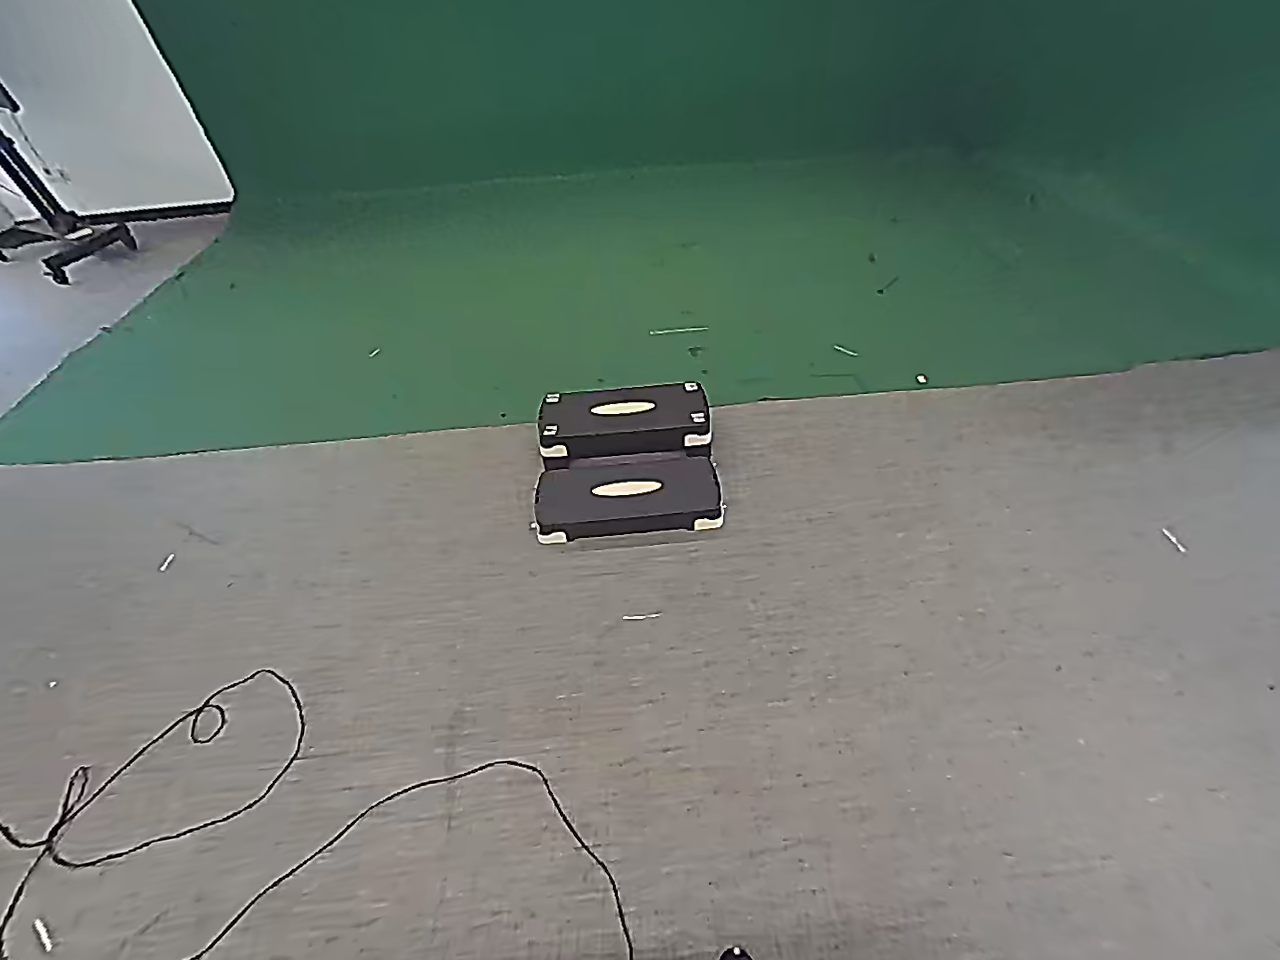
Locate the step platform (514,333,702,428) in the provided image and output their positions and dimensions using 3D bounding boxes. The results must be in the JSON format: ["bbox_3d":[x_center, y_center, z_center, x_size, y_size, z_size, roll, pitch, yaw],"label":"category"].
[{"bbox_3d":[-0.113,-0.375,2.037,0.684,0.204,0.286,-5,46,0],"label":"step platform"}]
